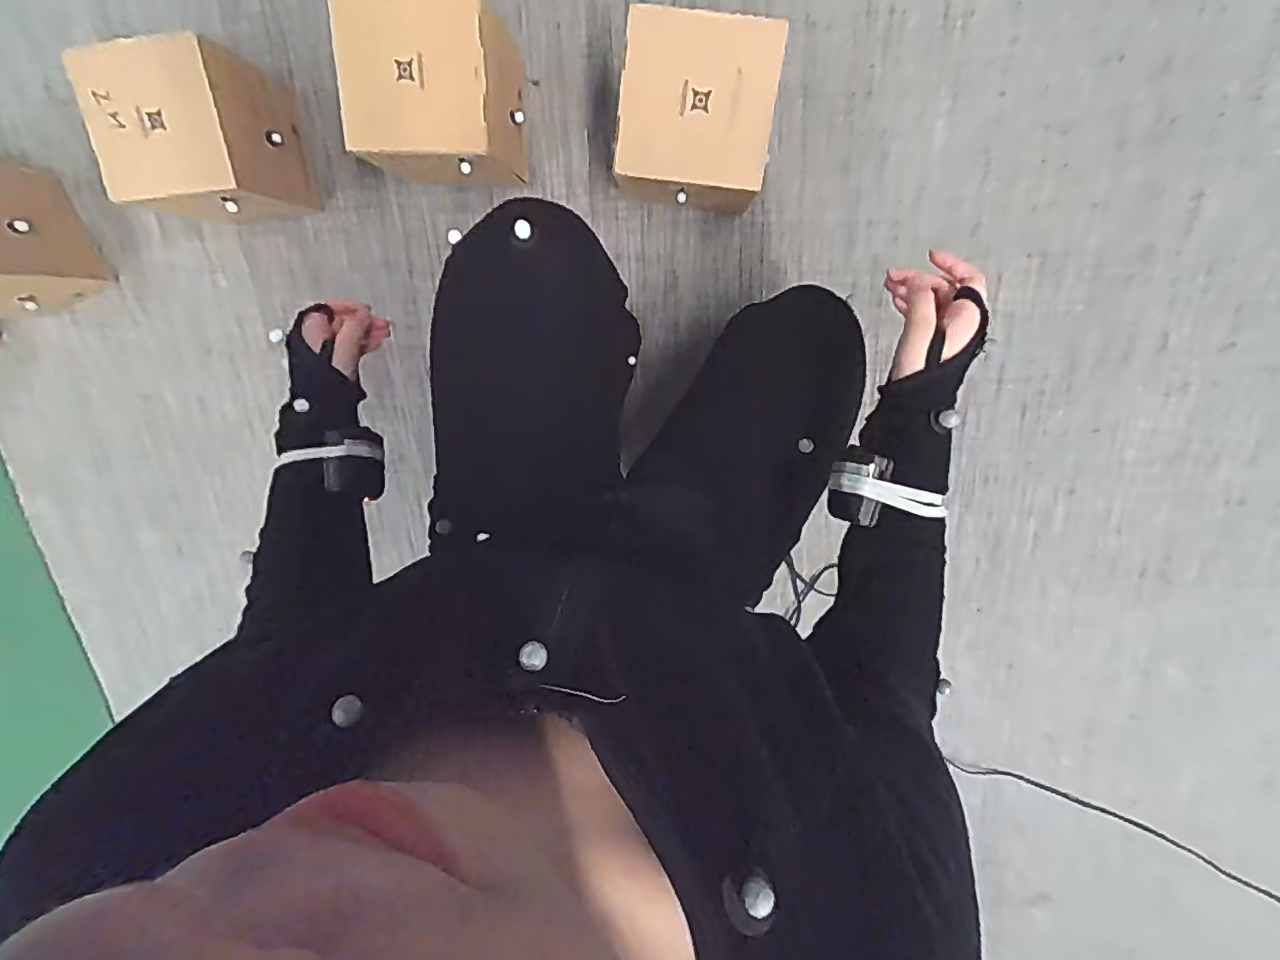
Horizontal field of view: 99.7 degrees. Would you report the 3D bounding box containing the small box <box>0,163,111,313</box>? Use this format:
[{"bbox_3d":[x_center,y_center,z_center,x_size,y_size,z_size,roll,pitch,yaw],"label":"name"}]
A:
[{"bbox_3d":[-0.958,-0.353,0.794,0.168,0.176,0.179,-18,105,10],"label":"small box"}]

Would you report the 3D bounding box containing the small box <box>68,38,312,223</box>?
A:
[{"bbox_3d":[-0.578,-0.454,0.729,0.179,0.176,0.168,-3,106,5],"label":"small box"}]

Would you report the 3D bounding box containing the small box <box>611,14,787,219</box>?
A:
[{"bbox_3d":[0.068,-0.439,0.682,0.179,0.176,0.168,9,109,1],"label":"small box"}]

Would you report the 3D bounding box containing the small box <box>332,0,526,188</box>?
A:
[{"bbox_3d":[-0.255,-0.485,0.695,0.179,0.176,0.168,3,107,3],"label":"small box"}]
